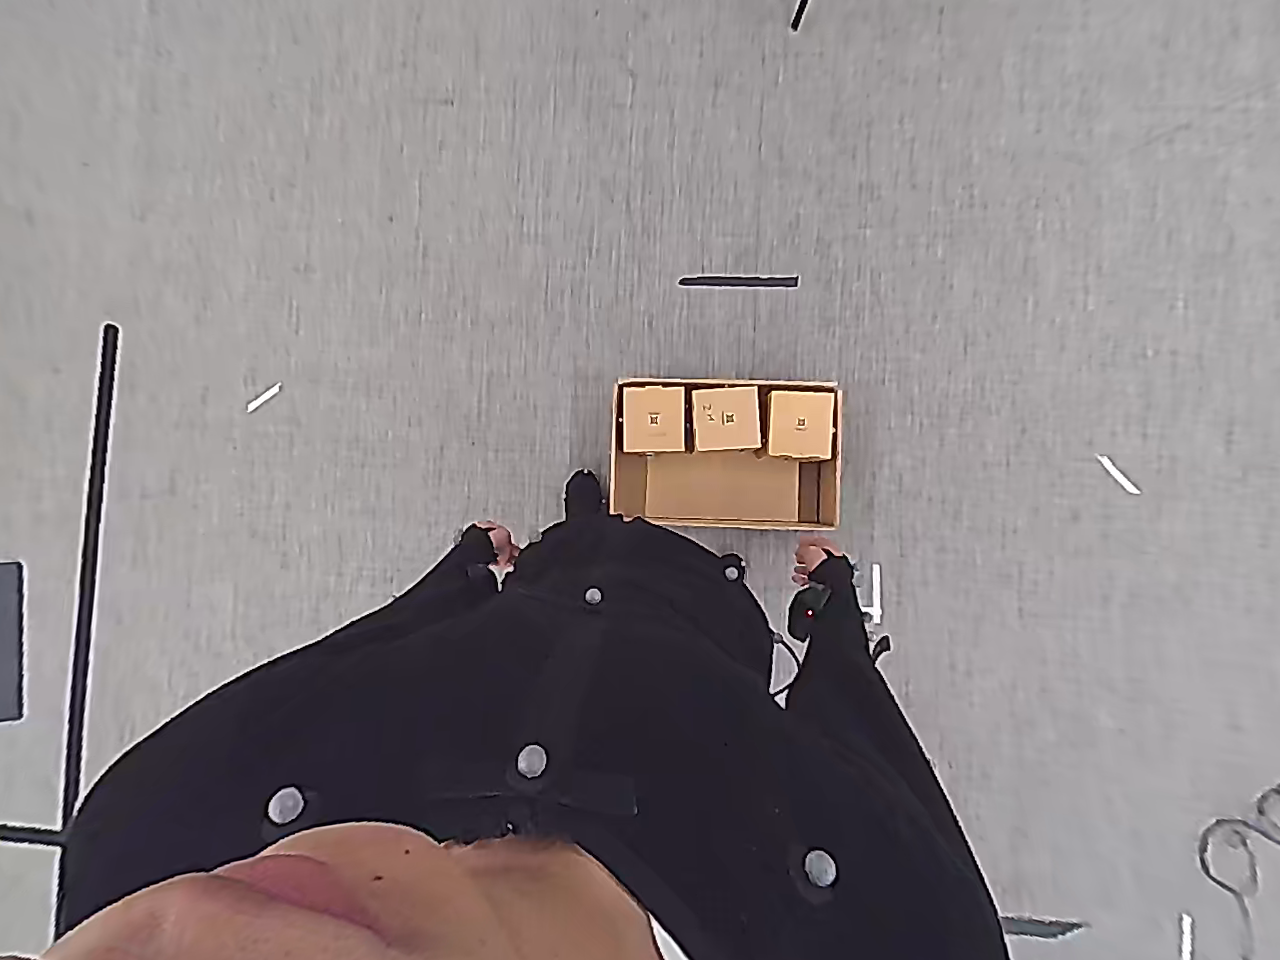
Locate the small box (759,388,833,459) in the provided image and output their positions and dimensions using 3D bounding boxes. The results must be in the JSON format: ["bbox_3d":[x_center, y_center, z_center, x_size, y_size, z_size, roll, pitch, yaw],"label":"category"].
[{"bbox_3d":[0.428,-0.154,1.505,0.168,0.176,0.179,2,91,4],"label":"small box"}]
